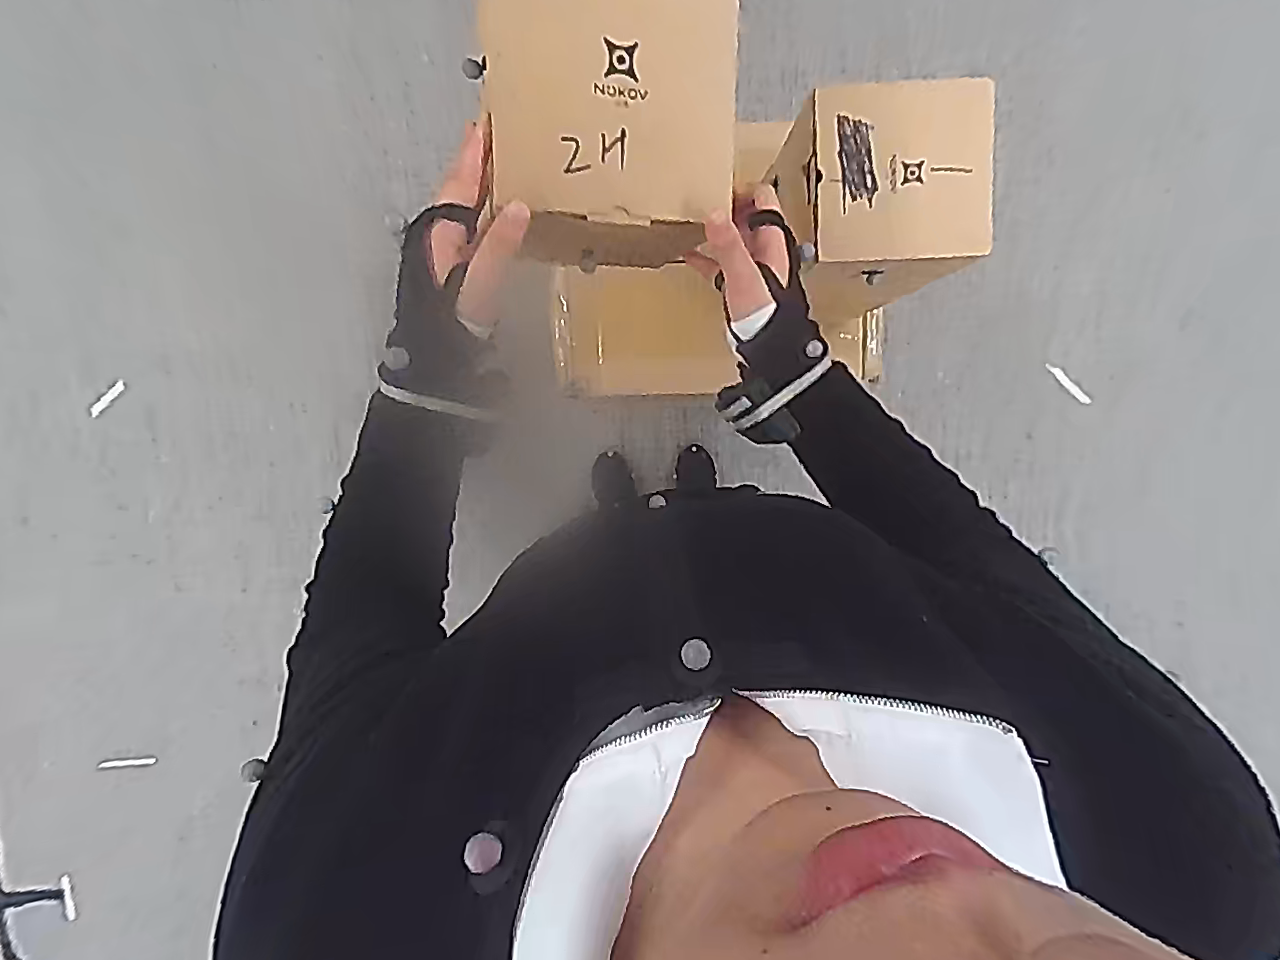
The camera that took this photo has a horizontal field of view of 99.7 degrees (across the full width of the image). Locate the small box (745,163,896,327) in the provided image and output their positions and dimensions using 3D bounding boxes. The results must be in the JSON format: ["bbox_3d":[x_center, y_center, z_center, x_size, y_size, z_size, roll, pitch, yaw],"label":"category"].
[{"bbox_3d":[0.247,-0.325,0.770,0.168,0.176,0.179,-3,97,0],"label":"small box"}]

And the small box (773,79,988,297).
[{"bbox_3d":[0.251,-0.309,0.607,0.179,0.176,0.168,-3,96,0],"label":"small box"}]

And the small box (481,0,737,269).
[{"bbox_3d":[-0.036,-0.278,0.425,0.168,0.176,0.179,-3,102,-15],"label":"small box"}]
